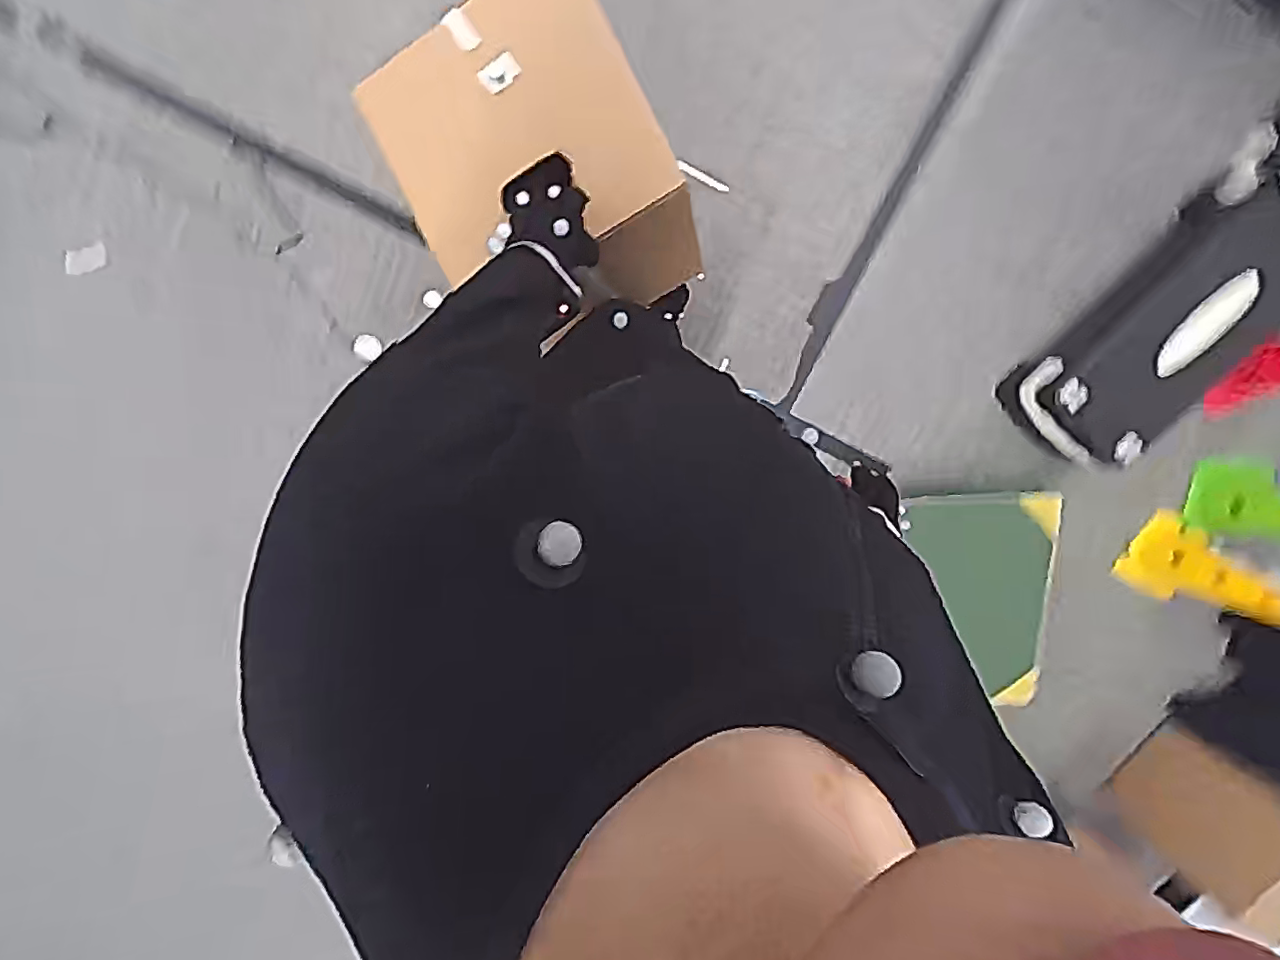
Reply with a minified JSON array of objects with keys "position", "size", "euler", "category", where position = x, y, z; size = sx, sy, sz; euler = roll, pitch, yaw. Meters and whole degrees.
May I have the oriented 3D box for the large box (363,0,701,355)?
[{"position":[-0.122,-0.420,0.845],"size":[0.320,0.408,0.320],"euler":[-27,93,12],"category":"large box"}]
